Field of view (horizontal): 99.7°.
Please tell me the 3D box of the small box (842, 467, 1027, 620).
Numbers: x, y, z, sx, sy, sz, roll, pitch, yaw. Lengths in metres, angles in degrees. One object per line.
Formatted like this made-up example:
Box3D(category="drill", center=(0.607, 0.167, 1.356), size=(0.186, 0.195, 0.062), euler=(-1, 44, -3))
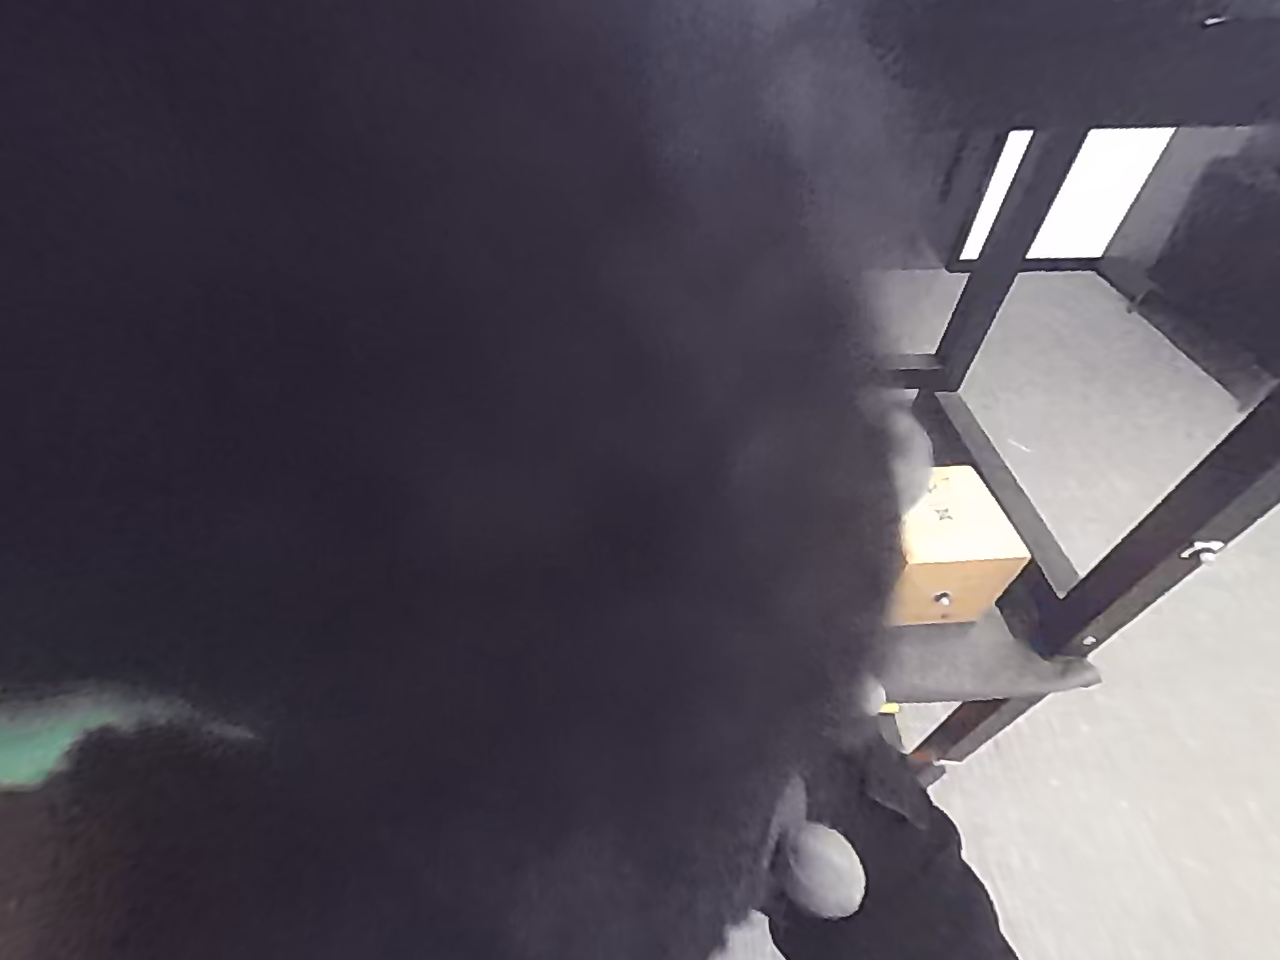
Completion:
Box3D(category="small box", center=(0.431, 0.101, 0.826), size=(0.168, 0.176, 0.179), euler=(-3, 46, -1))
